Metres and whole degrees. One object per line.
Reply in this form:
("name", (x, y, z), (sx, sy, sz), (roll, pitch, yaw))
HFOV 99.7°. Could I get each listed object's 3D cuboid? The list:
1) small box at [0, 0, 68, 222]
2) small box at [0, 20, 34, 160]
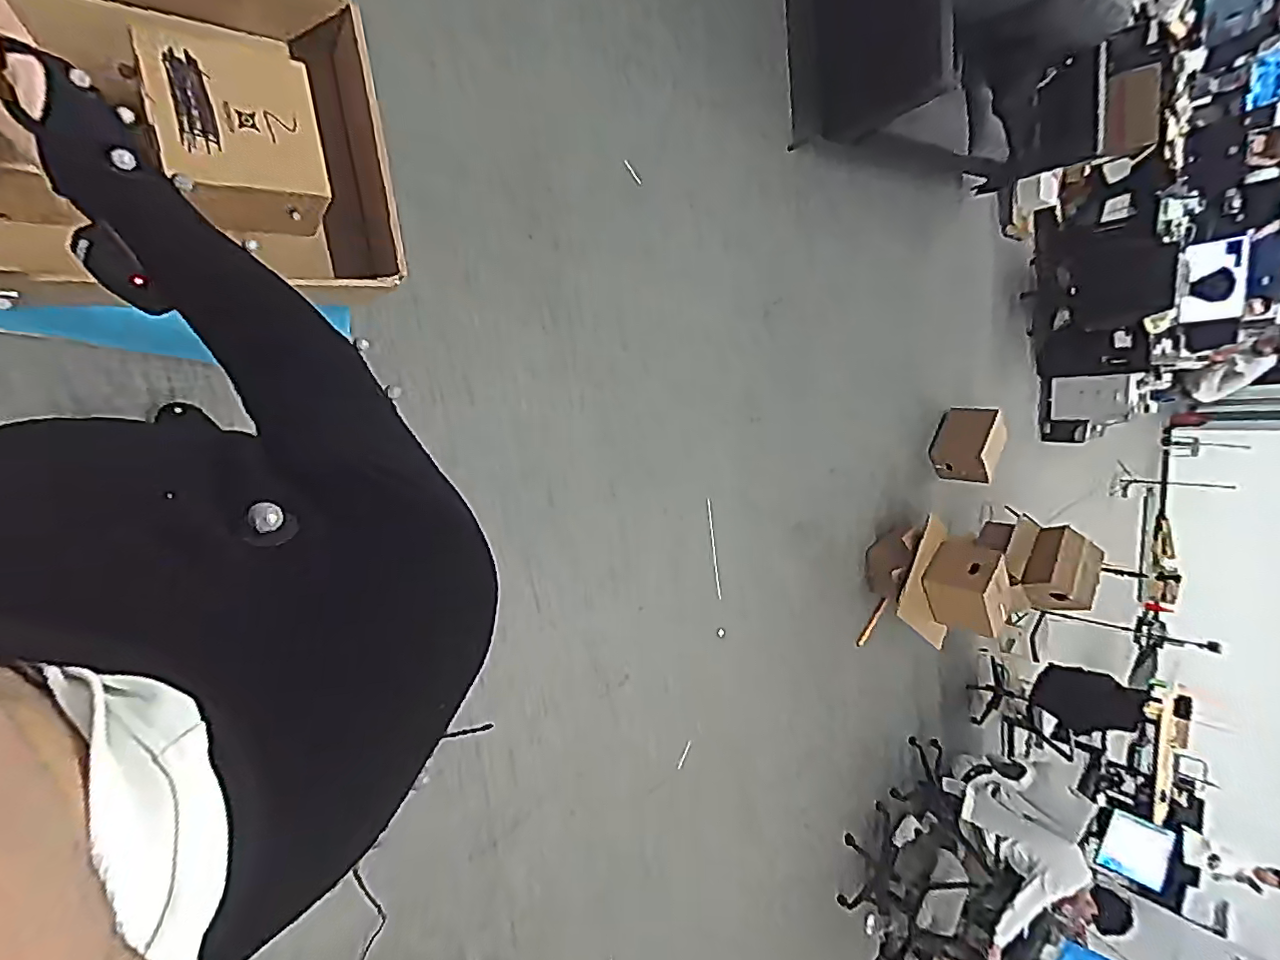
("small box", (-0.744, -0.394, 0.562), (0.168, 0.176, 0.179), (-14, 101, -38))
("small box", (-0.643, -0.395, 0.434), (0.168, 0.176, 0.179), (-15, 101, -38))
